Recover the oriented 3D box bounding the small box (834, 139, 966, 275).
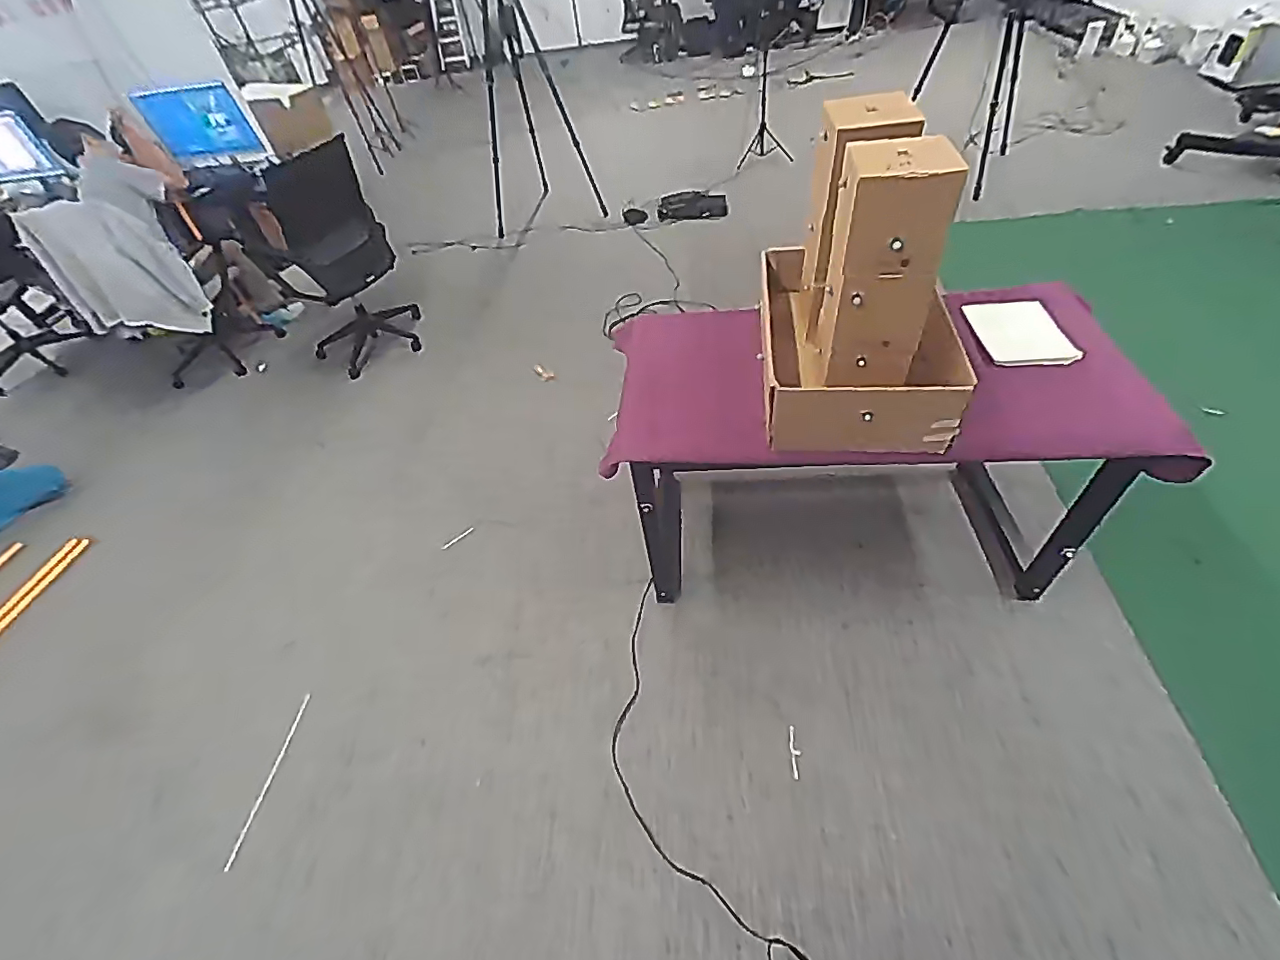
[{"bbox_3d":[0.452,-0.488,0.972,0.168,0.176,0.179,2,48,11],"label":"small box"}]

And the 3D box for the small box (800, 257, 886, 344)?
[{"bbox_3d":[0.514,-0.472,1.397,0.168,0.176,0.179,-1,50,8],"label":"small box"}]

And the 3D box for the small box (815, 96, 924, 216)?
[{"bbox_3d":[0.478,-0.689,1.156,0.168,0.176,0.179,-2,50,8],"label":"small box"}]

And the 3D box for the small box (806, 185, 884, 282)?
[{"bbox_3d":[0.495,-0.584,1.279,0.168,0.176,0.179,-1,49,7],"label":"small box"}]
